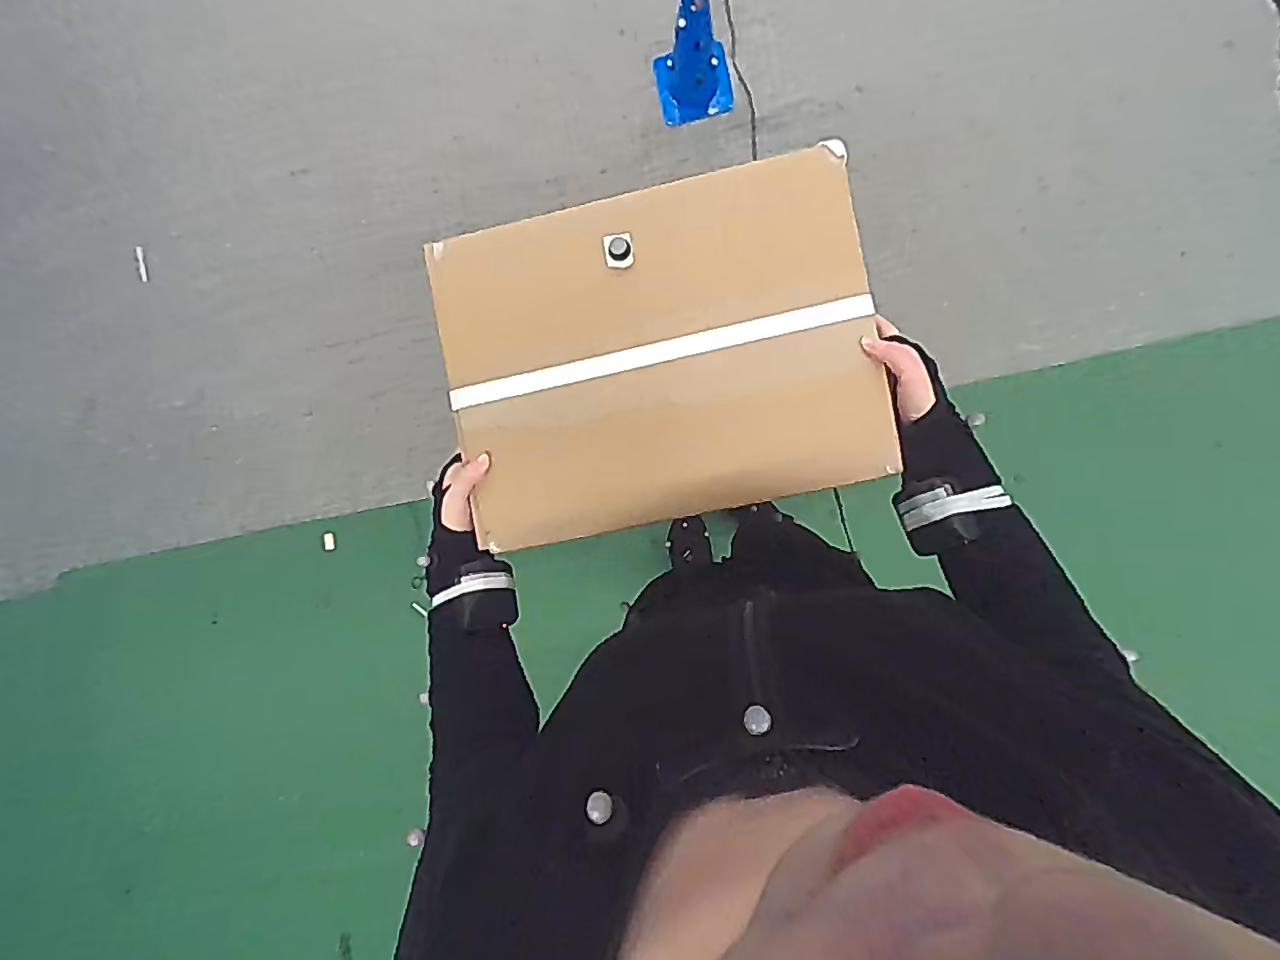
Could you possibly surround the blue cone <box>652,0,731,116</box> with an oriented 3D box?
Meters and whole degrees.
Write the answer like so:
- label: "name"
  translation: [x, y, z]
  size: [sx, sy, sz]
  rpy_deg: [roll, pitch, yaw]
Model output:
- label: "blue cone"
  translation: [0.123, -1.103, 1.314]
  size: [0.193, 0.380, 0.192]
  rpy_deg: [-15, 89, 7]
